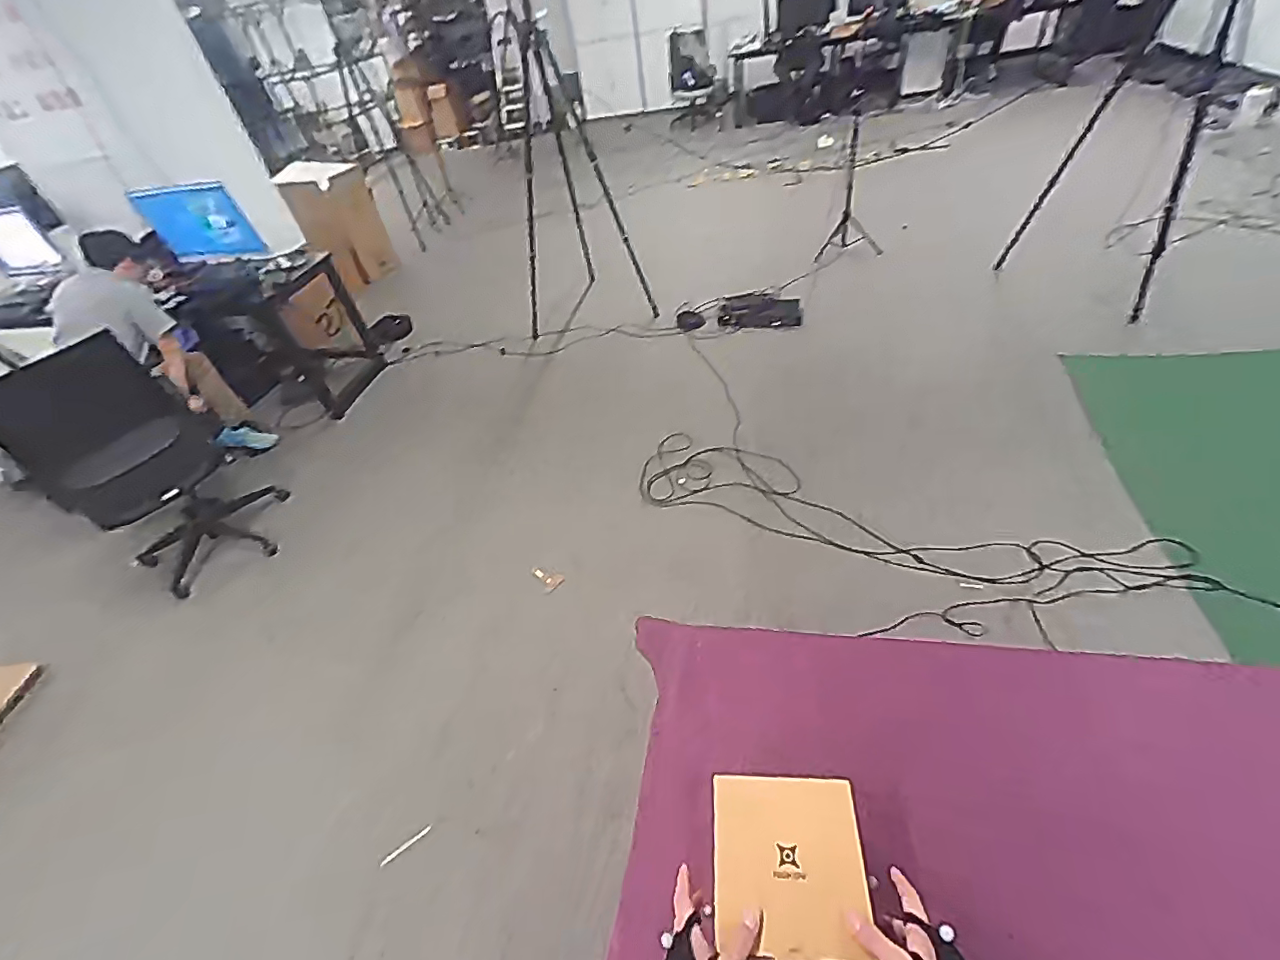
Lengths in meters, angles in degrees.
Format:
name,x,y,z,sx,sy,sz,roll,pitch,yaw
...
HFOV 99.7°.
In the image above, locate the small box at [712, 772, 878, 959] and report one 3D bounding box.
name,x,y,z,sx,sy,sz,roll,pitch,yaw
small box,0.173,0.481,0.657,0.168,0.176,0.179,-3,44,9
